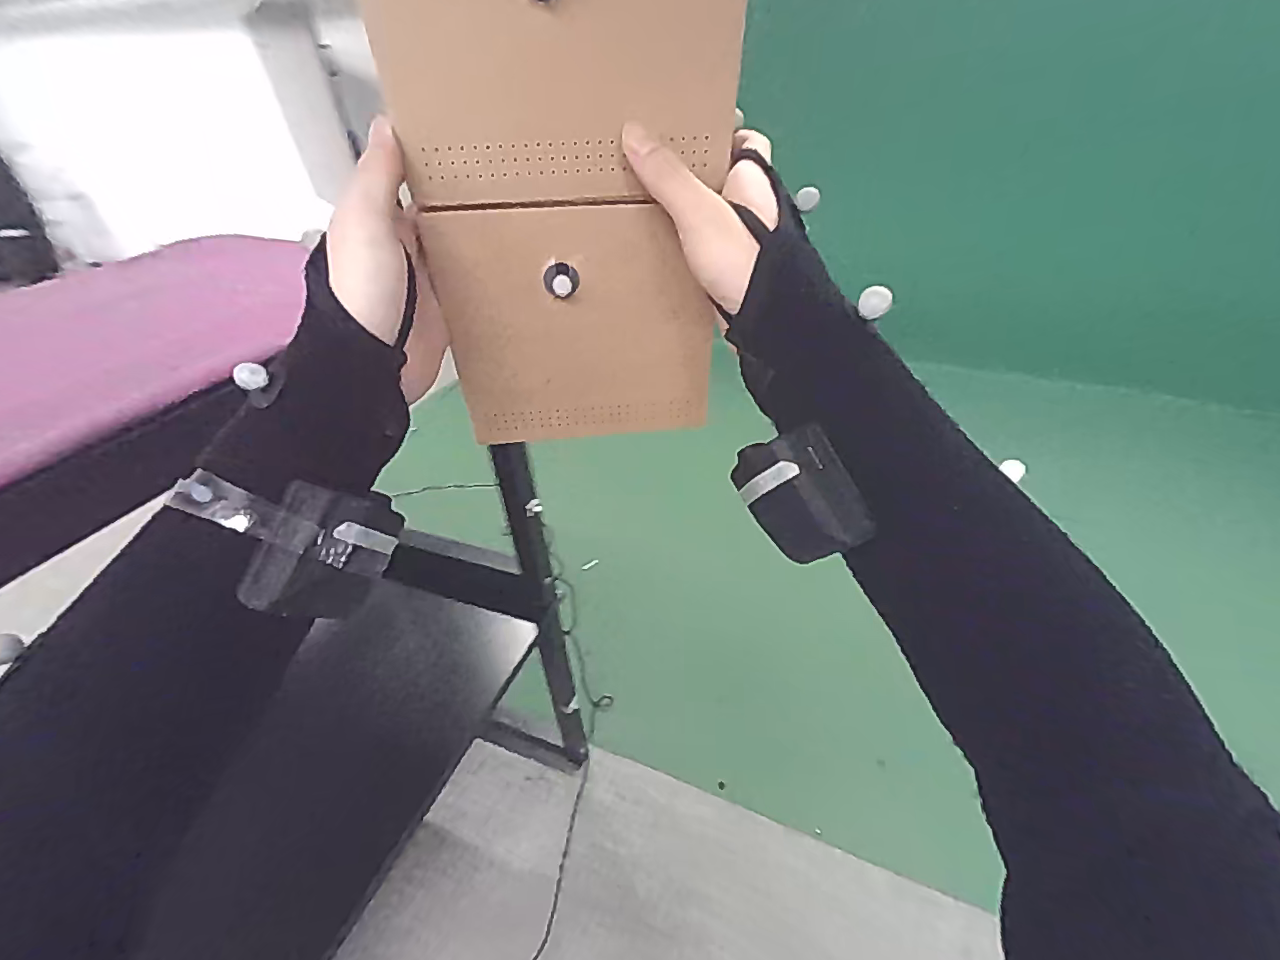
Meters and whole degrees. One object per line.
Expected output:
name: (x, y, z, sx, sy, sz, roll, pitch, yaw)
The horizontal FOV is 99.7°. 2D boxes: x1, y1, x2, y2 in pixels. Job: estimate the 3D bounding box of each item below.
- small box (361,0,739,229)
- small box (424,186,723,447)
small box: (-0.046, -0.260, 0.309, 0.179, 0.176, 0.168, -7, 43, -5)
small box: (-0.040, -0.139, 0.419, 0.179, 0.176, 0.168, -4, 43, -3)
